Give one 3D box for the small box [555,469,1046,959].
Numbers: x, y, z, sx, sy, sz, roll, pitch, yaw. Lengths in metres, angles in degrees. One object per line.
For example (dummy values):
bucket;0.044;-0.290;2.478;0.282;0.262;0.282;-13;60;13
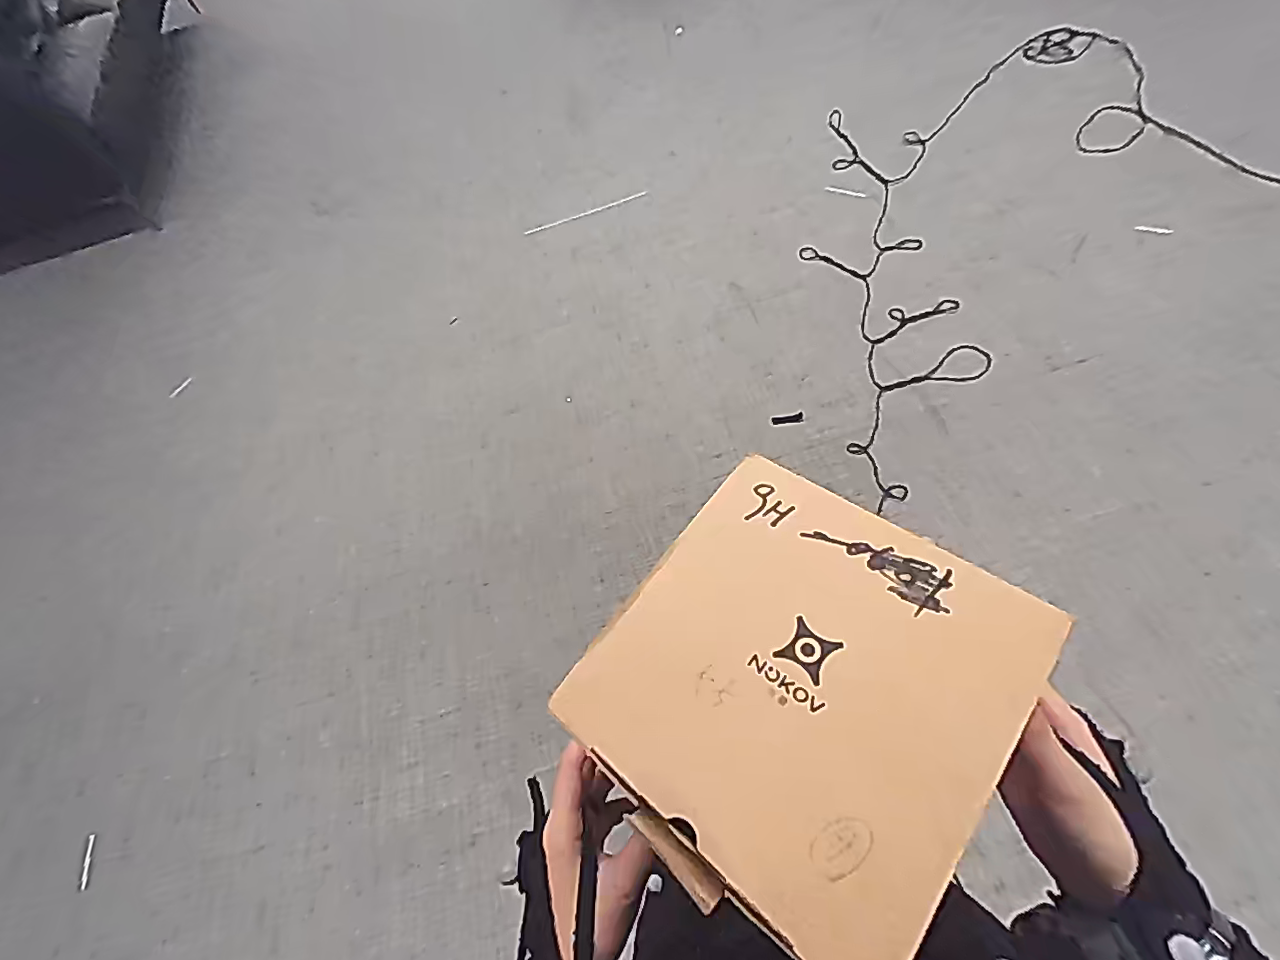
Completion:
small box;0.087;0.133;0.321;0.168;0.176;0.179;31;70;28
